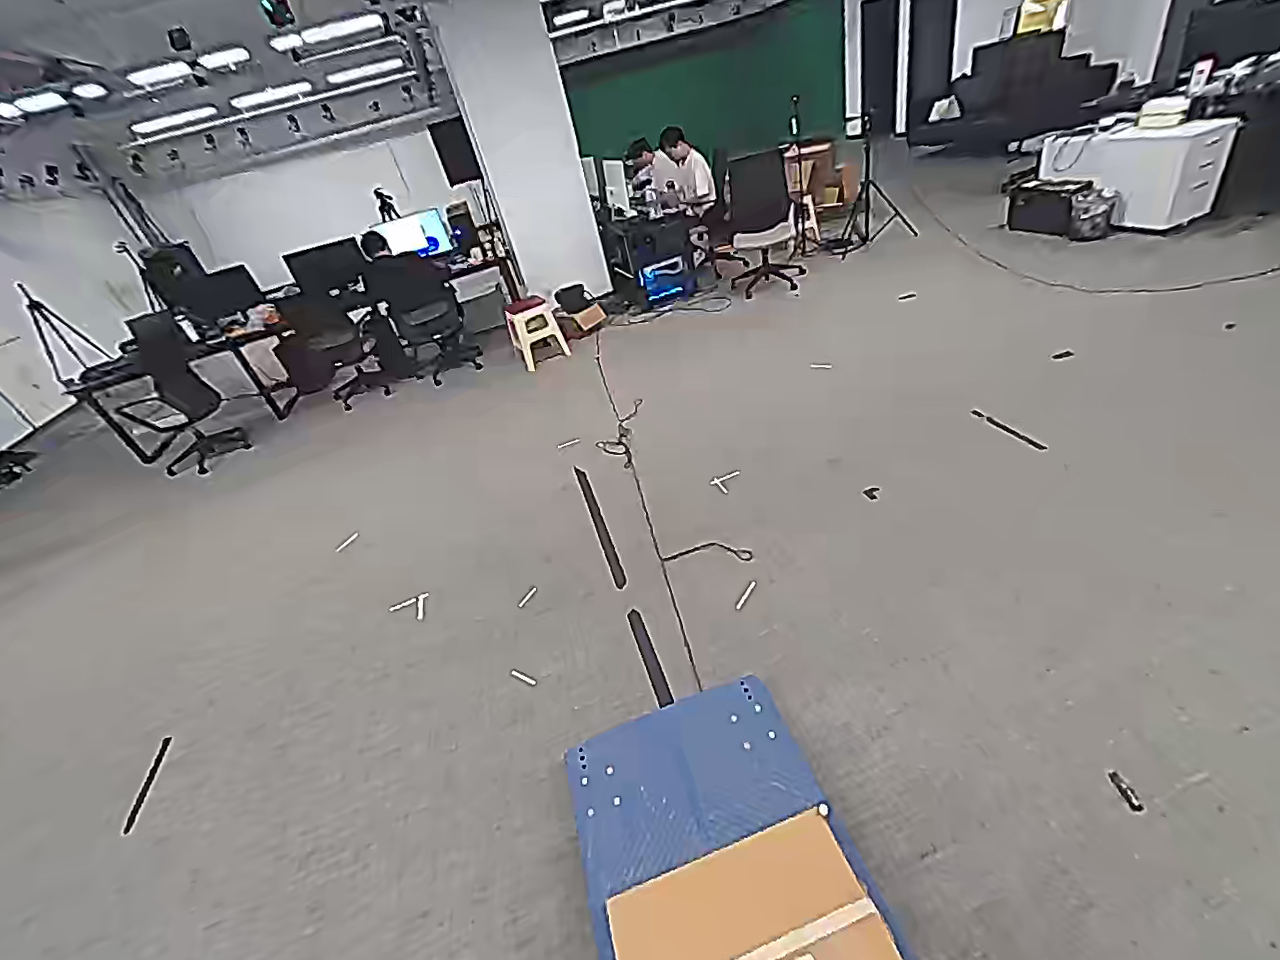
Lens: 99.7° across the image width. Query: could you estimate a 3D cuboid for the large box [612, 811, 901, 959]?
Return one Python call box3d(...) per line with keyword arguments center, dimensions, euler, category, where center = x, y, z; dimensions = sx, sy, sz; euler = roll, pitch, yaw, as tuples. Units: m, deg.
box3d(center=(0.209, 0.853, 0.902), dimensions=(0.408, 0.320, 0.320), euler=(-20, 35, -6), category="large box")
